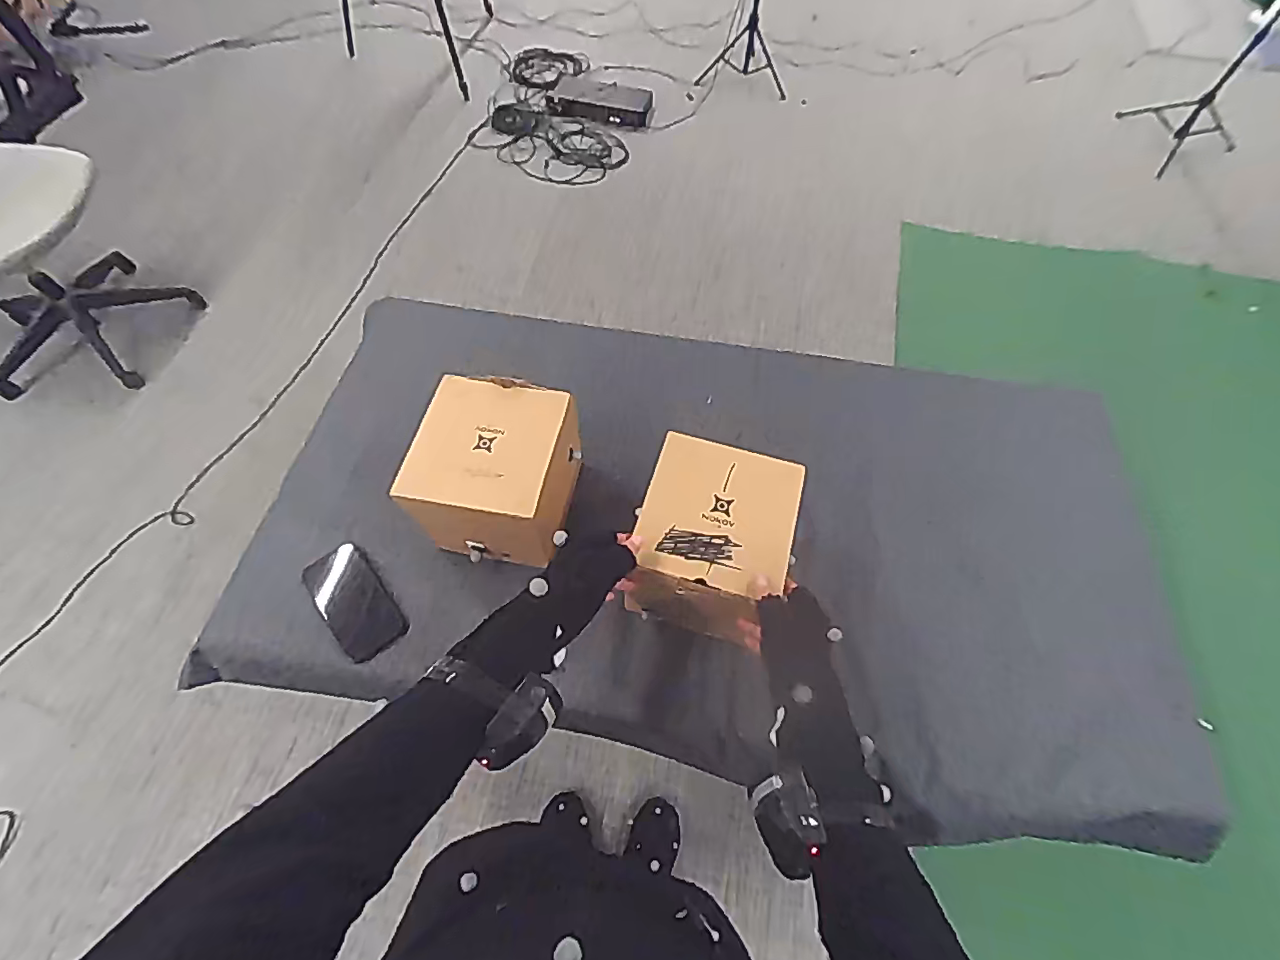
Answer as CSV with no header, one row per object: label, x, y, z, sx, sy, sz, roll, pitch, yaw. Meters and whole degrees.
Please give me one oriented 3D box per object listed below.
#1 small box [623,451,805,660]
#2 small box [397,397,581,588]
small box,0.086,0.097,0.652,0.168,0.176,0.179,15,59,9
small box,-0.175,0.020,0.699,0.168,0.176,0.179,7,60,6
